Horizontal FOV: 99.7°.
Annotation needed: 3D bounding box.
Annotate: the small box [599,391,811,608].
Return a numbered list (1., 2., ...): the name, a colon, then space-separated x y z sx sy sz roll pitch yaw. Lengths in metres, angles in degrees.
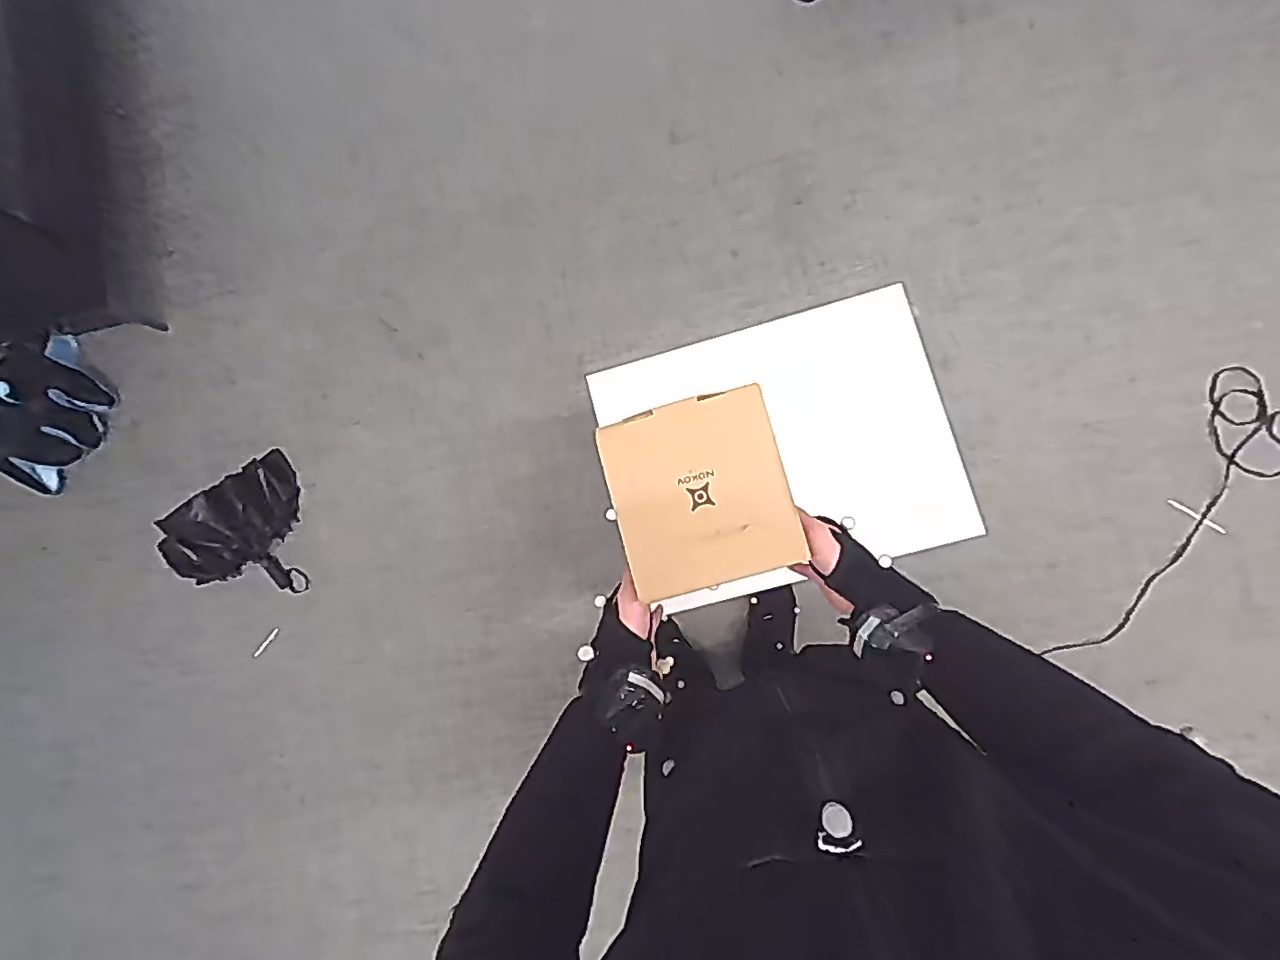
1. small box: 0.067 0.026 0.587 0.168 0.176 0.179 -16 83 6
